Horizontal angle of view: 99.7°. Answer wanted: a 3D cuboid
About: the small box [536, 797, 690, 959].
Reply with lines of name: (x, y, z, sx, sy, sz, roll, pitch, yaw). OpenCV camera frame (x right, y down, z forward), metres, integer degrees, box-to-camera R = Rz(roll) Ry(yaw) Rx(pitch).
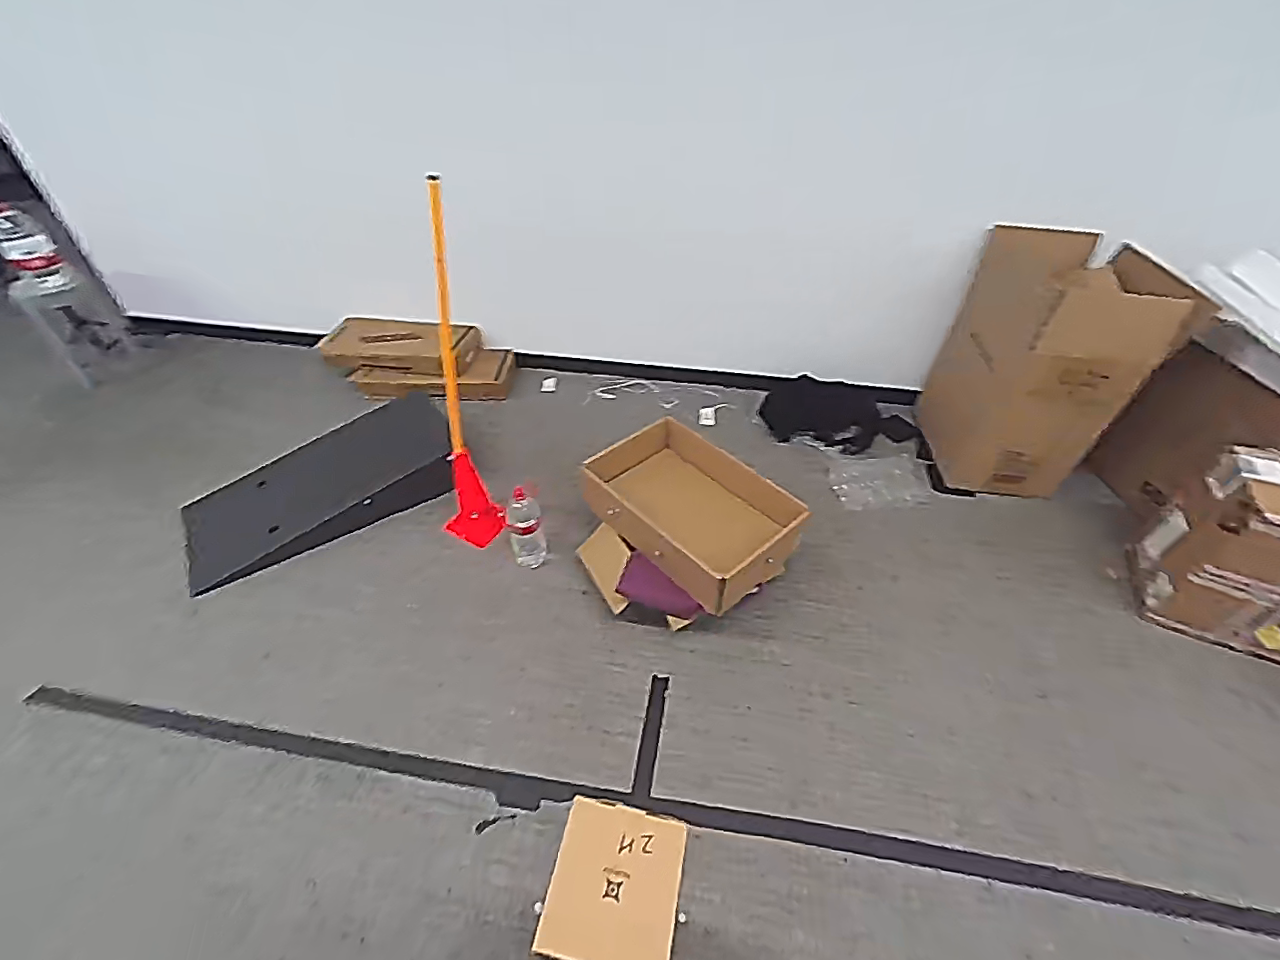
small box: (-0.028, 0.580, 0.749, 0.168, 0.176, 0.179, 9, 42, 9)
